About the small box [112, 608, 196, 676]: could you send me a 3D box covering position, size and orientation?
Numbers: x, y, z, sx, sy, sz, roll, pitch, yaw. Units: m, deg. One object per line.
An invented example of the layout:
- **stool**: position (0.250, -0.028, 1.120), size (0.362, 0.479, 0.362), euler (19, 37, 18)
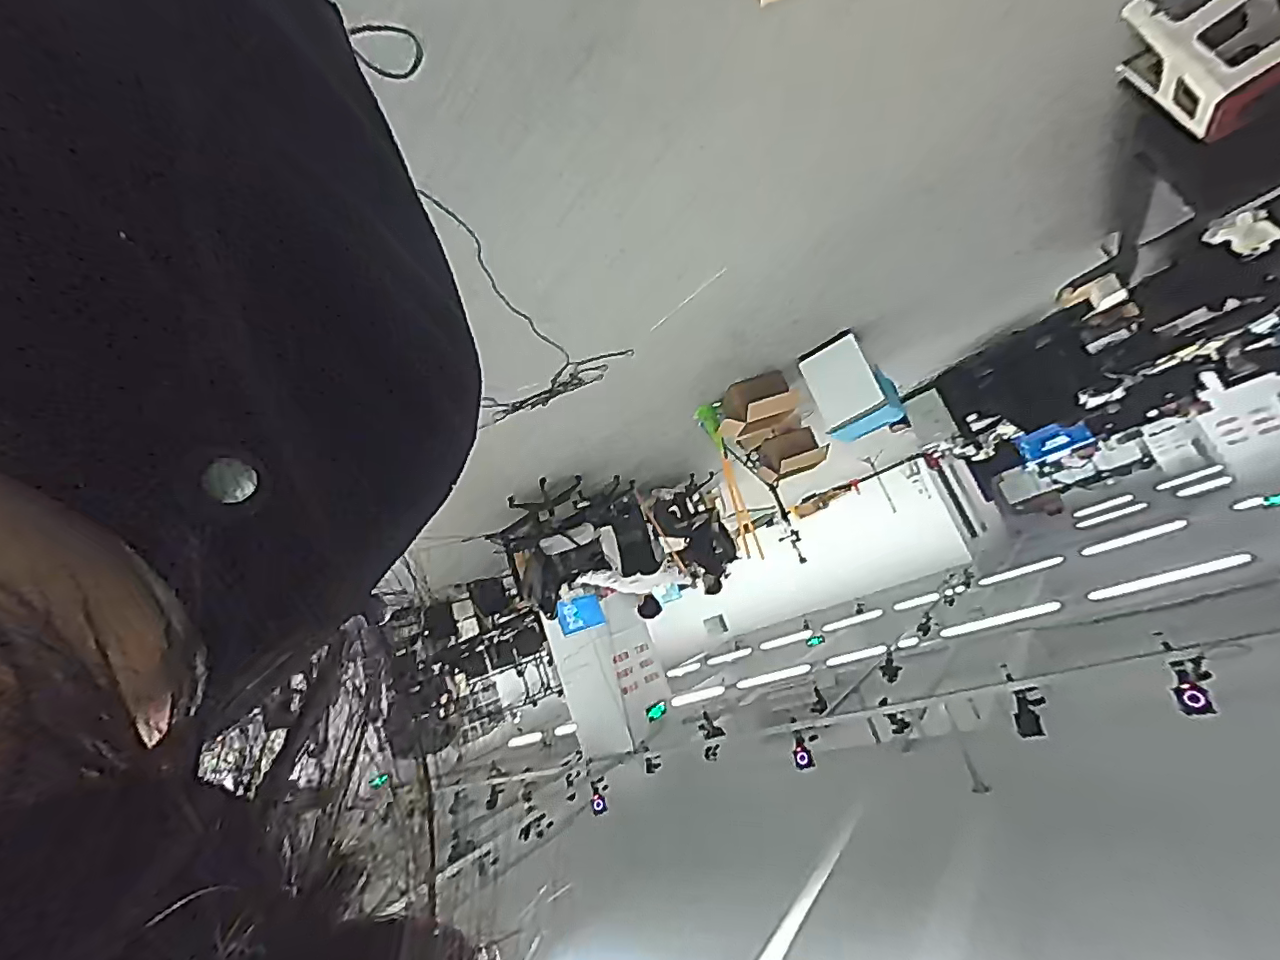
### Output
- **small box**: position (-1.559, 0.521, 1.730), size (0.179, 0.176, 0.168), euler (-31, 162, 32)

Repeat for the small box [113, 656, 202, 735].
- **small box**: position (-1.504, 0.665, 1.682), size (0.168, 0.176, 0.179), euler (-32, 161, 34)
